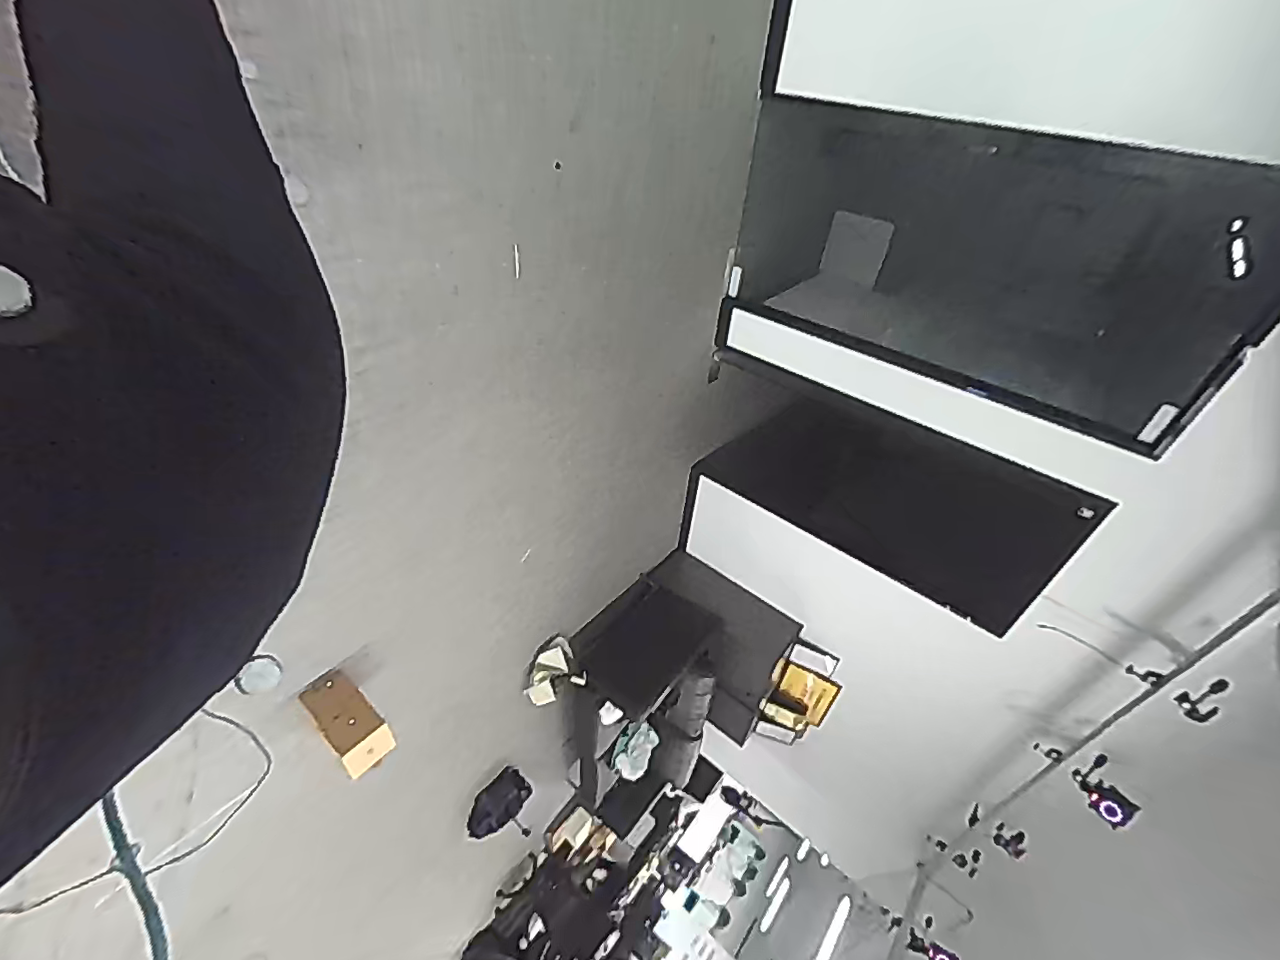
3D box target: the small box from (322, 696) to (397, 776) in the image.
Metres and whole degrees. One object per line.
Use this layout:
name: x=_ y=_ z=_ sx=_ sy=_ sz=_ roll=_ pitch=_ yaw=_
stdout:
small box: x=-1.013 y=0.915 z=1.950 sx=0.168 sy=0.176 sz=0.179 roll=-35 pitch=145 yaw=-39

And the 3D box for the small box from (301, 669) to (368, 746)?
small box: x=-1.139 y=0.854 z=2.039 sx=0.168 sy=0.176 sz=0.179 roll=-34 pitch=143 yaw=-42
